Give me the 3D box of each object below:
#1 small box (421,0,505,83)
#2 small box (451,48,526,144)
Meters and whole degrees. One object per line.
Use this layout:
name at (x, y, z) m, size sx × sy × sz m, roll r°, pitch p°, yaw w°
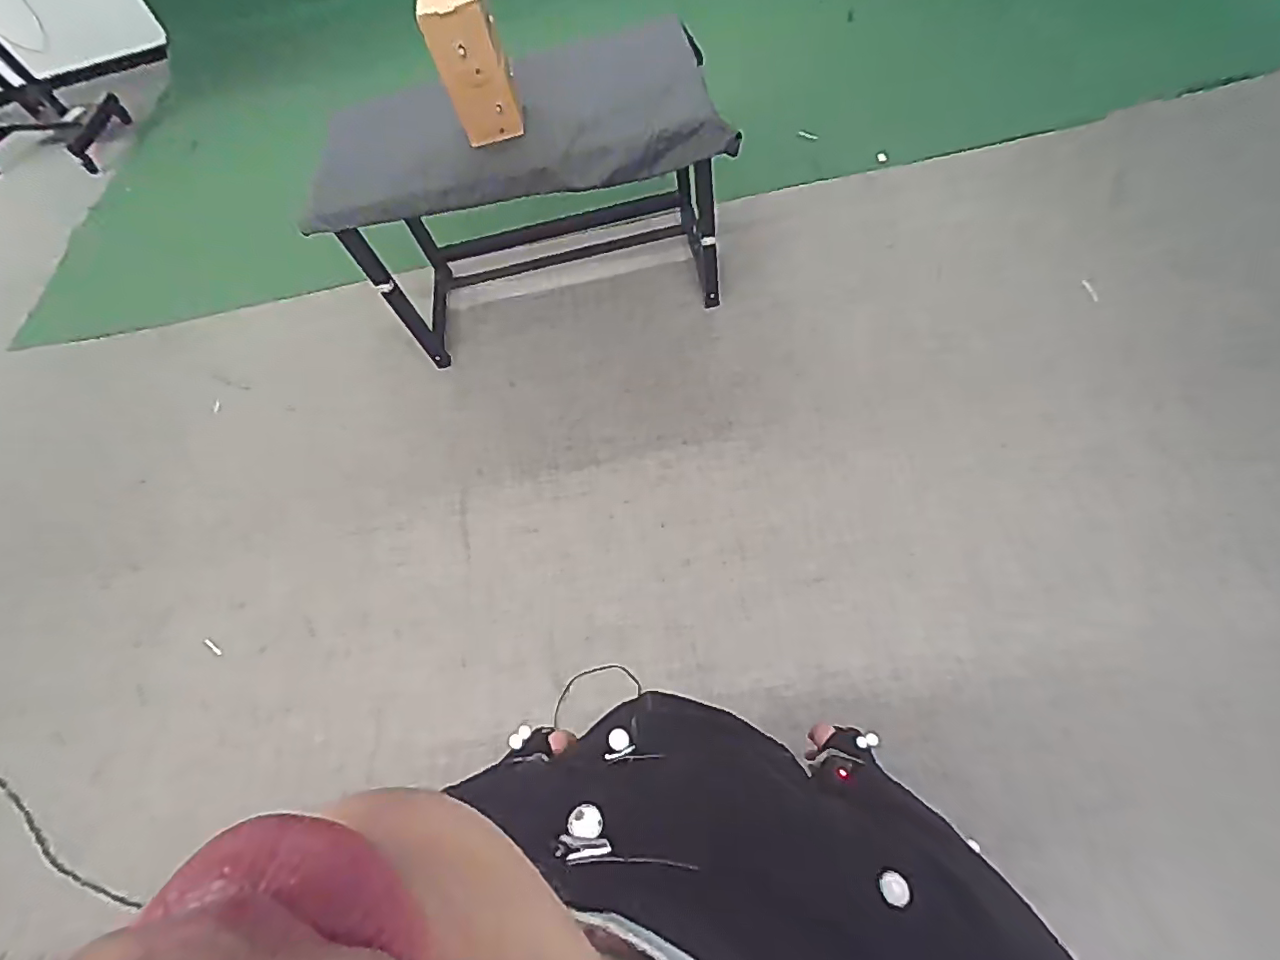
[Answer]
small box at (-0.471, -1.206, 1.460) m, size 0.168 × 0.176 × 0.179 m, roll -9°, pitch 63°, yaw 3°
small box at (-0.444, -1.126, 1.601) m, size 0.168 × 0.176 × 0.179 m, roll -11°, pitch 60°, yaw 3°
